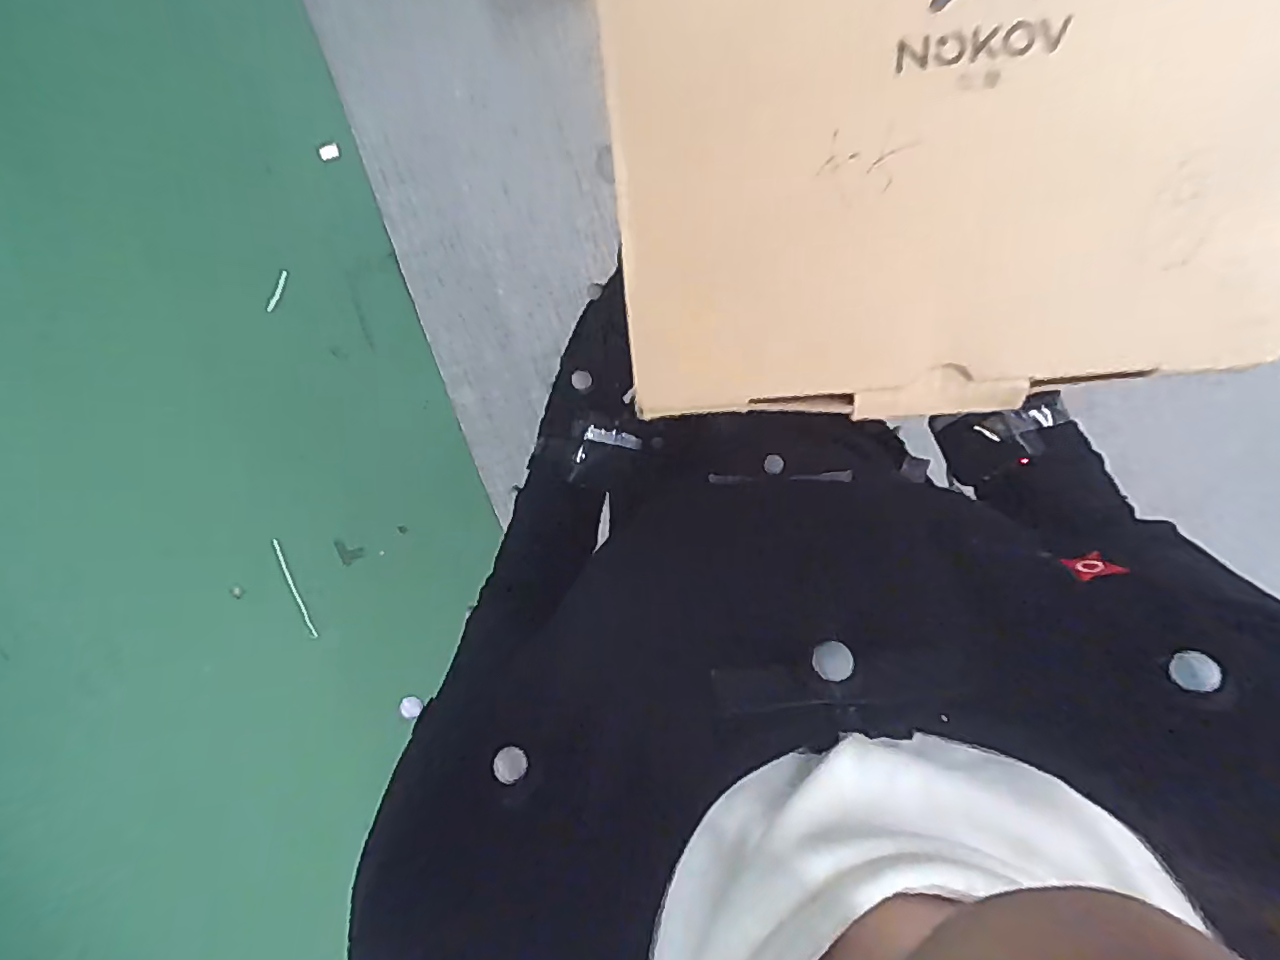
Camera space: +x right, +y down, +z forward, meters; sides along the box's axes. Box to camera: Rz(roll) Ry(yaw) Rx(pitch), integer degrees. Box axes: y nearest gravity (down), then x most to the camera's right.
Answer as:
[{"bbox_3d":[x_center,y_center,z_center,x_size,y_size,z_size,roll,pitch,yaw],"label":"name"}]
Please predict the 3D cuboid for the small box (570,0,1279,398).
[{"bbox_3d":[0.072,-0.138,0.193,0.168,0.176,0.179,-4,111,5],"label":"small box"}]
